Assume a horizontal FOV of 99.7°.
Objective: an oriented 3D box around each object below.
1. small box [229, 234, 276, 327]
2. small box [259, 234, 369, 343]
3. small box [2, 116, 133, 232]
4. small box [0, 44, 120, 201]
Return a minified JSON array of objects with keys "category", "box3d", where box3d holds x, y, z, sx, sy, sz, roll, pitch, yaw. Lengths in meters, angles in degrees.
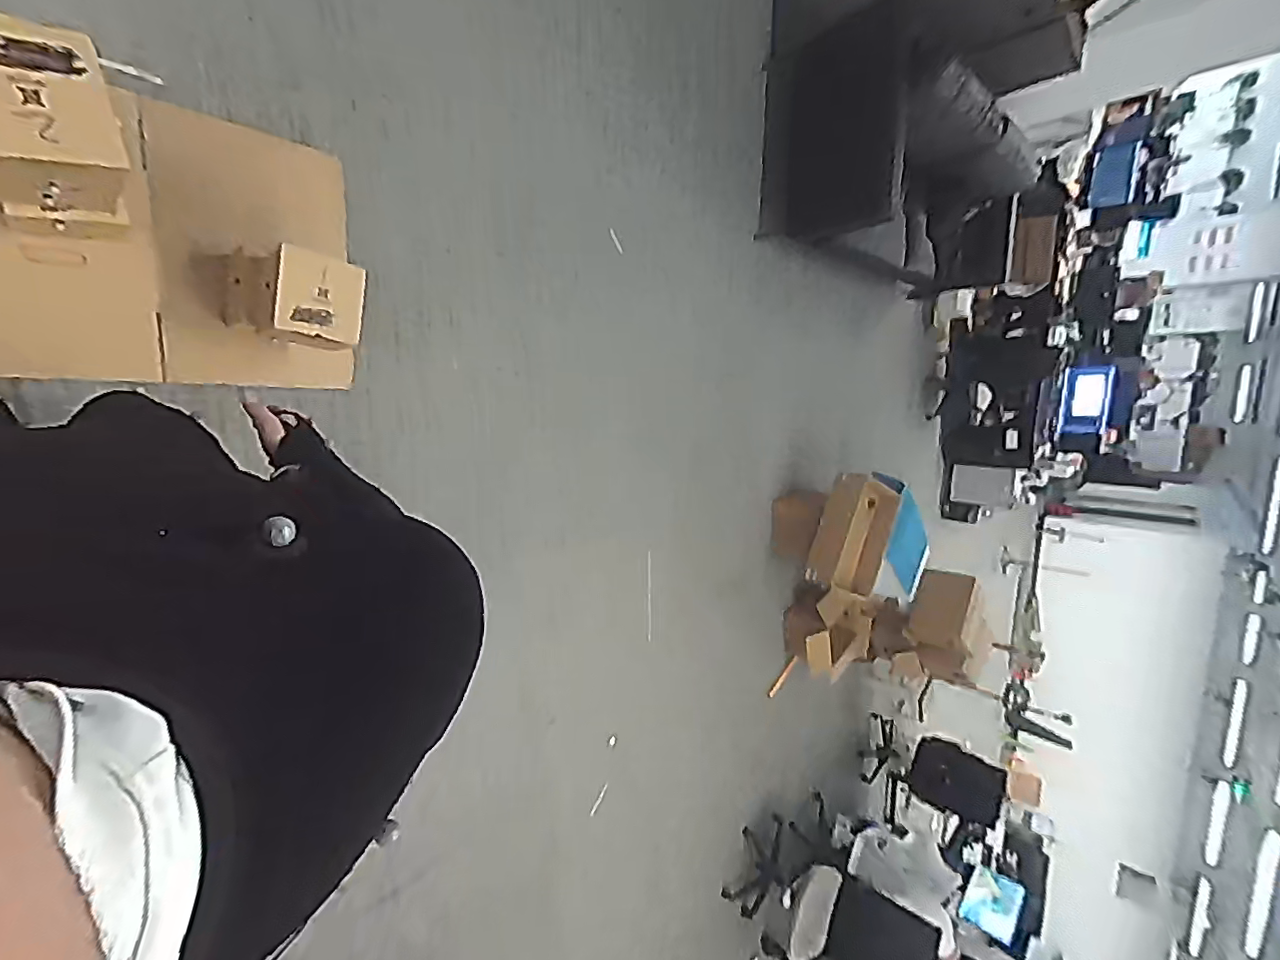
[{"category":"small box","box3d":[-0.862,-0.455,1.288,0.168,0.176,0.179,0,96,-46]},{"category":"small box","box3d":[-0.726,-0.410,1.198,0.168,0.176,0.179,6,91,-46]},{"category":"small box","box3d":[-1.098,-0.588,1.024,0.168,0.176,0.179,-16,108,-43]},{"category":"small box","box3d":[-0.995,-0.581,0.894,0.168,0.176,0.179,-16,107,-44]}]
